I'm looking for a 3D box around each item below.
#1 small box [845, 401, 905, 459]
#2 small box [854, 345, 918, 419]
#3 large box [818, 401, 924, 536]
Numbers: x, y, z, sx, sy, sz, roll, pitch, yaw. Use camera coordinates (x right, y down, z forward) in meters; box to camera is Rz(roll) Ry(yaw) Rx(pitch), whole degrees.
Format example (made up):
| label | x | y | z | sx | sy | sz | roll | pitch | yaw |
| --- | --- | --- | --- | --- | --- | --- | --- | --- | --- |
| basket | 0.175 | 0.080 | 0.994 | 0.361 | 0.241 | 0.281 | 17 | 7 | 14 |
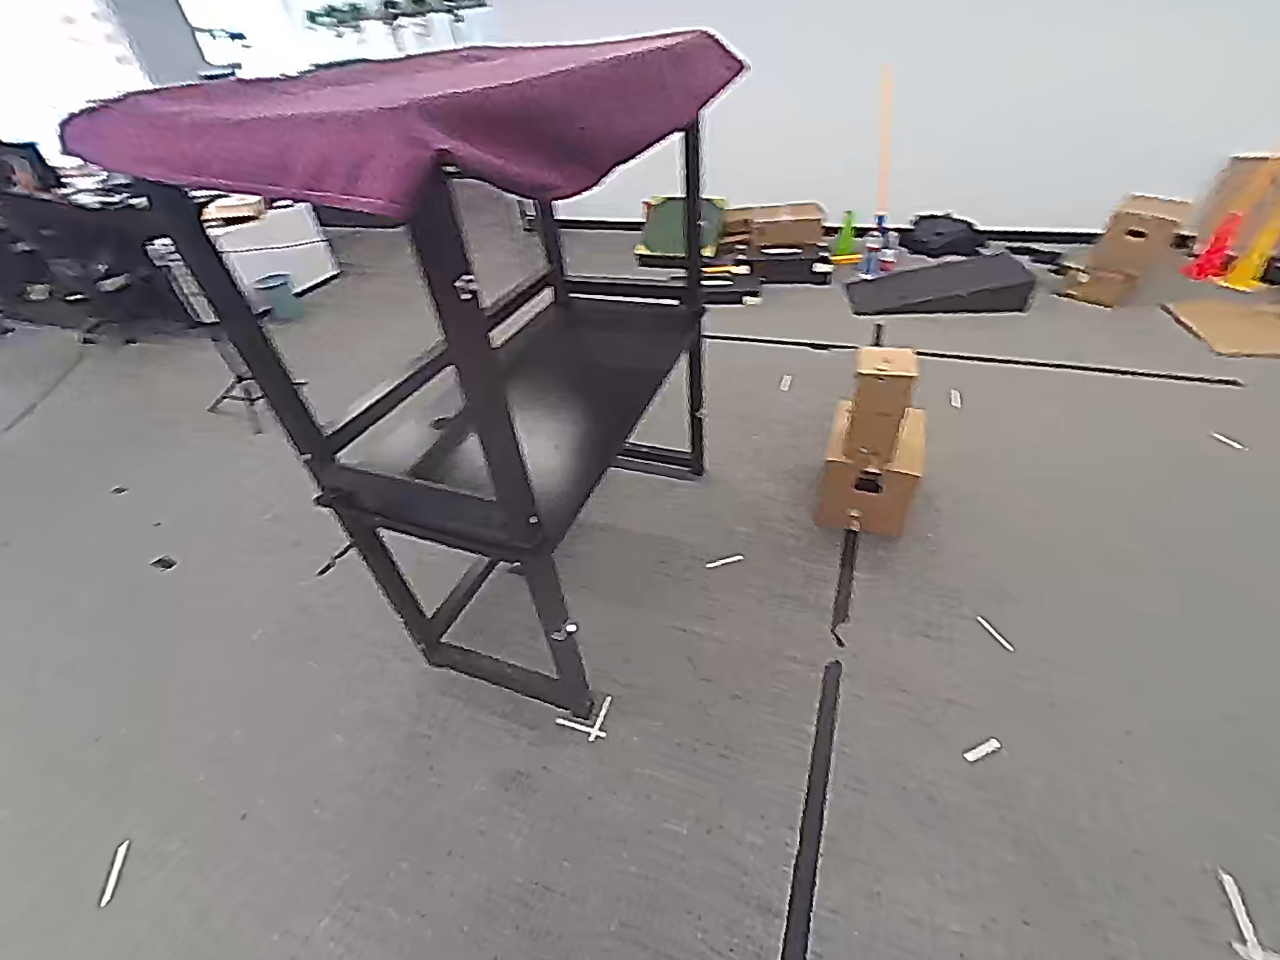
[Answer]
| label | x | y | z | sx | sy | sz | roll | pitch | yaw |
| --- | --- | --- | --- | --- | --- | --- | --- | --- | --- |
| small box | 0.807 | -0.196 | 1.856 | 0.168 | 0.176 | 0.179 | 10 | 44 | 20 |
| small box | 0.791 | -0.319 | 1.749 | 0.168 | 0.176 | 0.179 | 7 | 41 | 18 |
| large box | 0.874 | -0.051 | 2.054 | 0.320 | 0.320 | 0.408 | 12 | 43 | 19 |
